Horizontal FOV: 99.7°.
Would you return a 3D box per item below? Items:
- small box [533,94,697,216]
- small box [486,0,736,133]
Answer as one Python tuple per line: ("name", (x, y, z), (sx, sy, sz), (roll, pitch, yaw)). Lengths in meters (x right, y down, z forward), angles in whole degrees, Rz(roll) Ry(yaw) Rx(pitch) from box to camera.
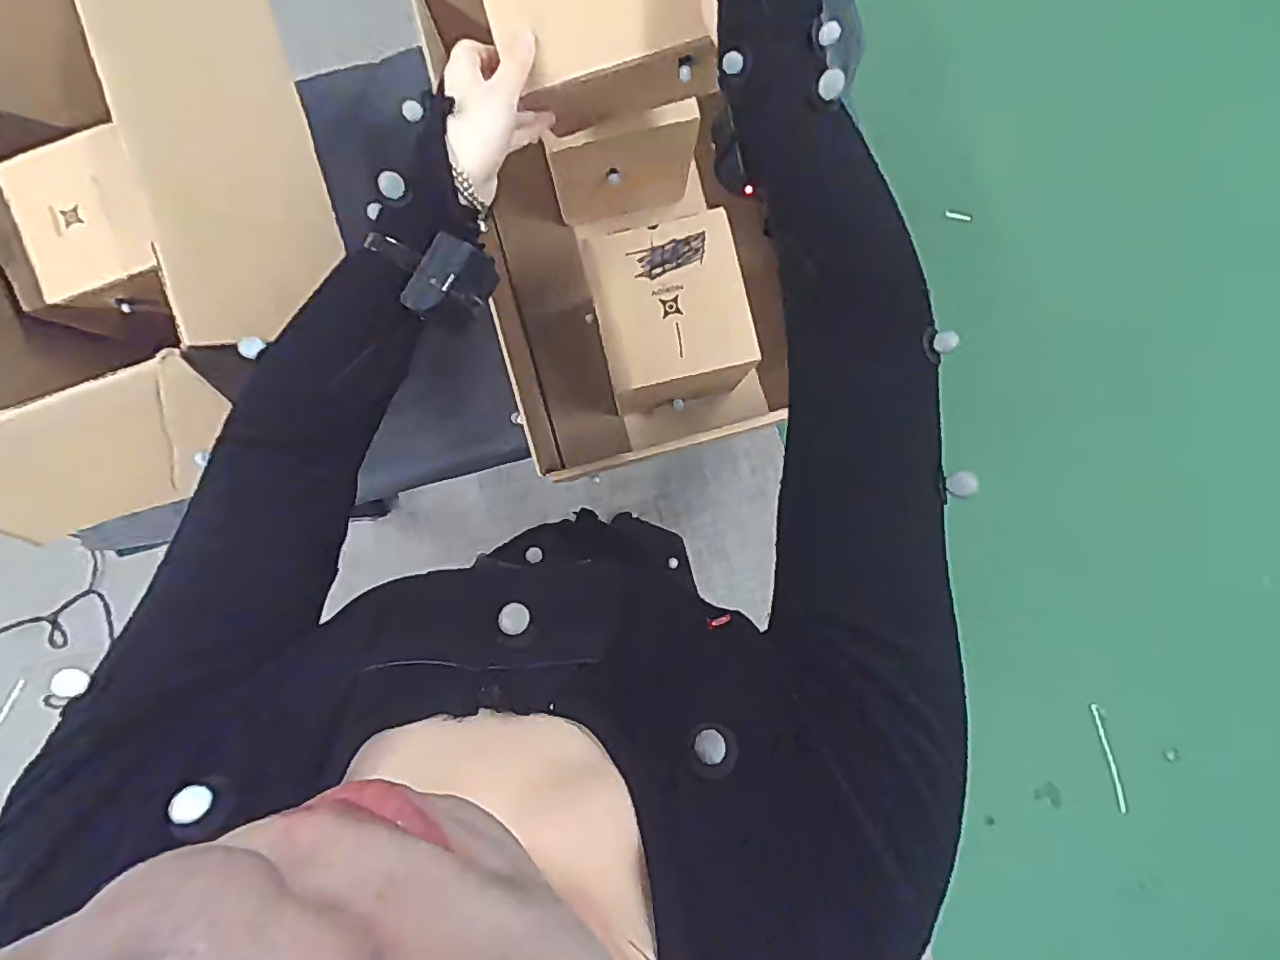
("small box", (-0.038, -0.459, 0.673), (0.179, 0.176, 0.168), (-15, 91, 0))
("small box", (-0.029, -0.412, 0.444), (0.179, 0.176, 0.168), (-13, 113, 7))
